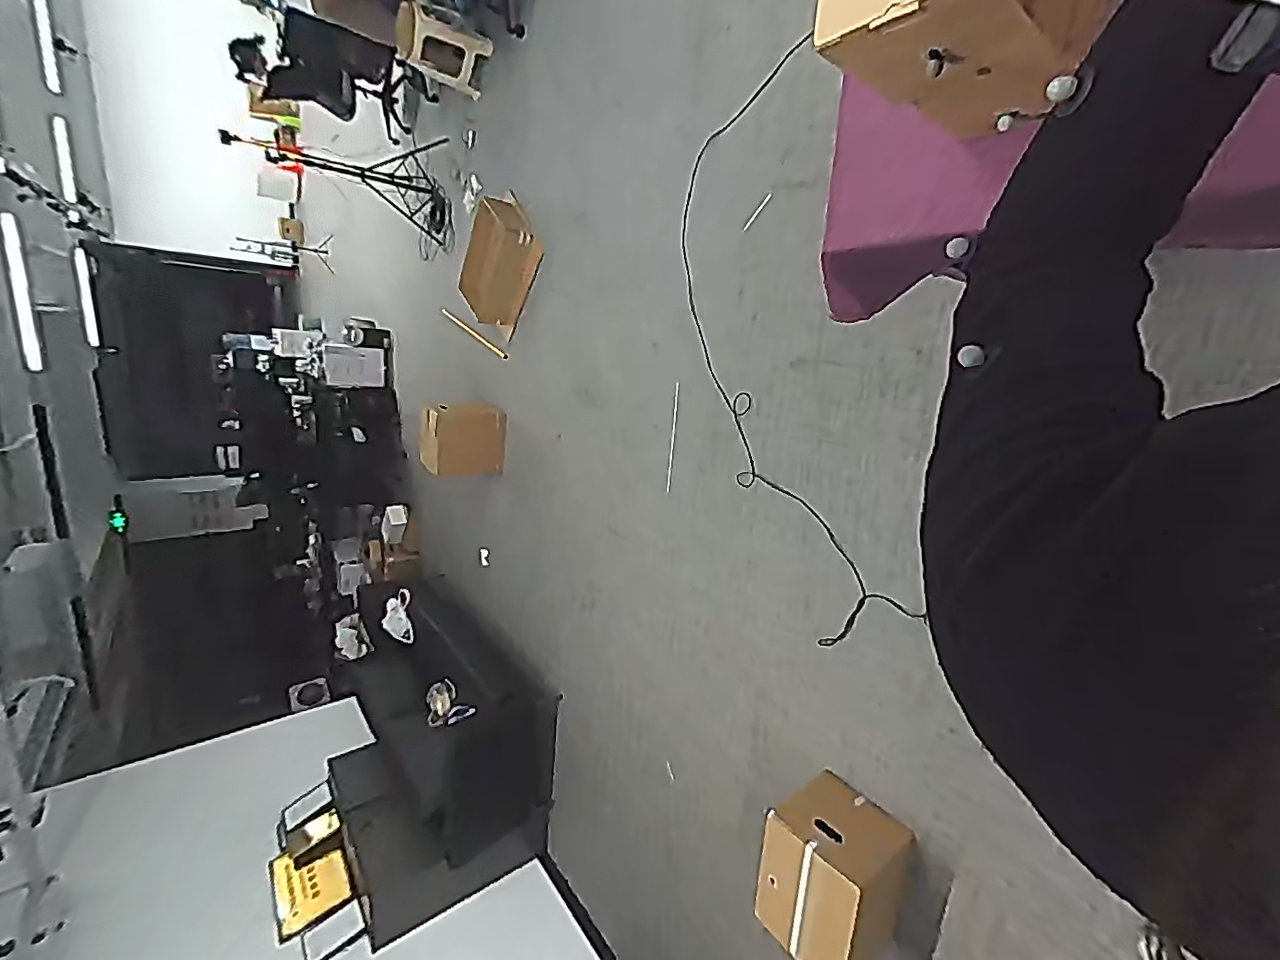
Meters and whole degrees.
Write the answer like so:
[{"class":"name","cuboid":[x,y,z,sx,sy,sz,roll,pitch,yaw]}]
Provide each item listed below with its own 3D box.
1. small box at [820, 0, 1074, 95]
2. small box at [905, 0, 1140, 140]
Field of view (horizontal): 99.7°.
[{"class":"small box","cuboid":[0.298,-0.496,0.508,0.168,0.176,0.179,20,111,48]},{"class":"small box","cuboid":[0.430,-0.517,0.604,0.168,0.176,0.179,20,111,49]}]
